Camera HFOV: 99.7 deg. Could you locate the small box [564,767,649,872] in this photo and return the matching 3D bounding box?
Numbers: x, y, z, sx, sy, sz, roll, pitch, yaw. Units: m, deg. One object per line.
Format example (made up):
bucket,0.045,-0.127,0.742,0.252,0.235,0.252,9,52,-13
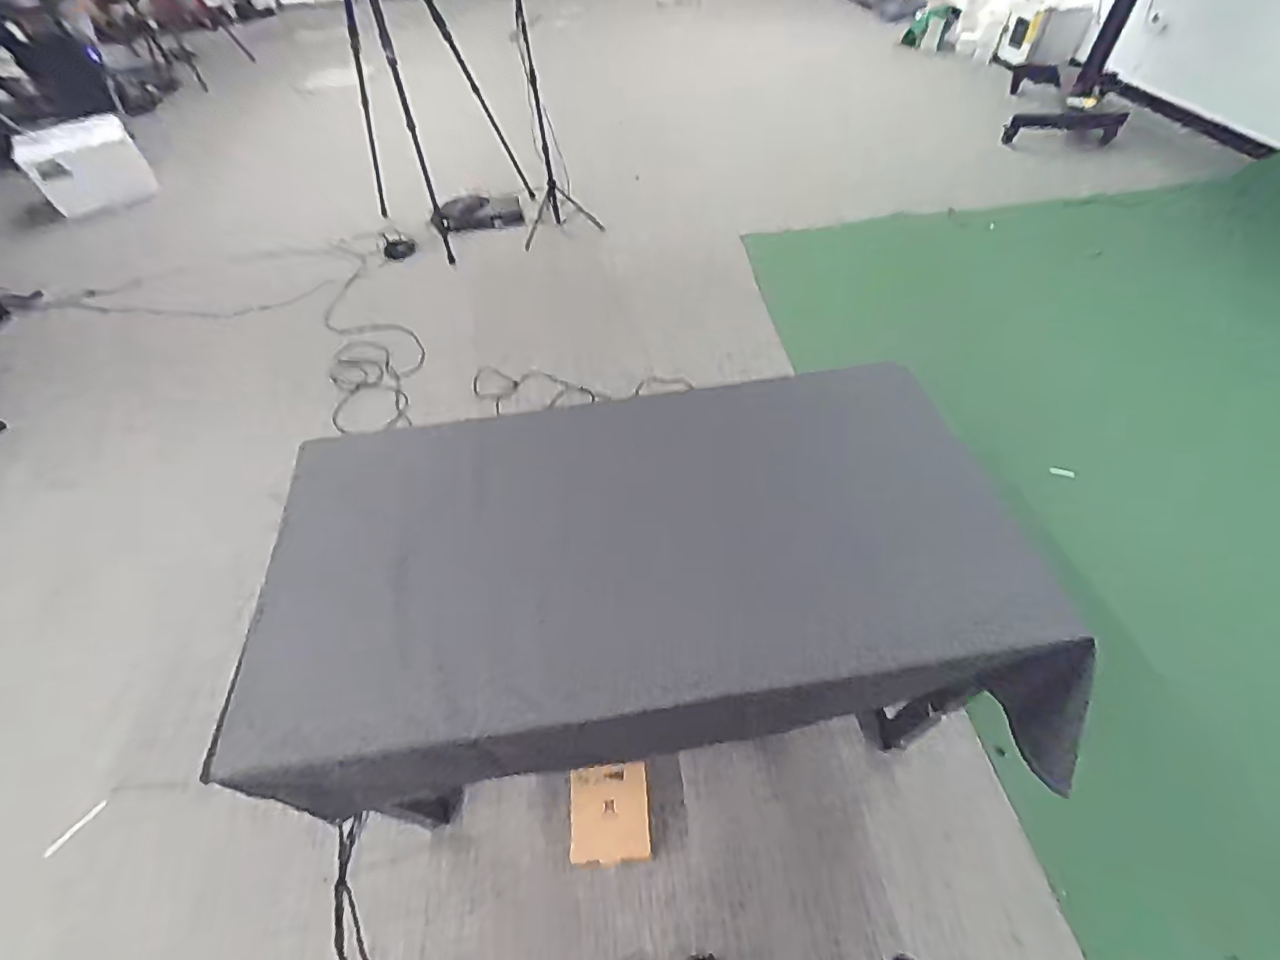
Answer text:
small box,-0.069,0.747,1.184,0.168,0.176,0.179,-5,51,0
